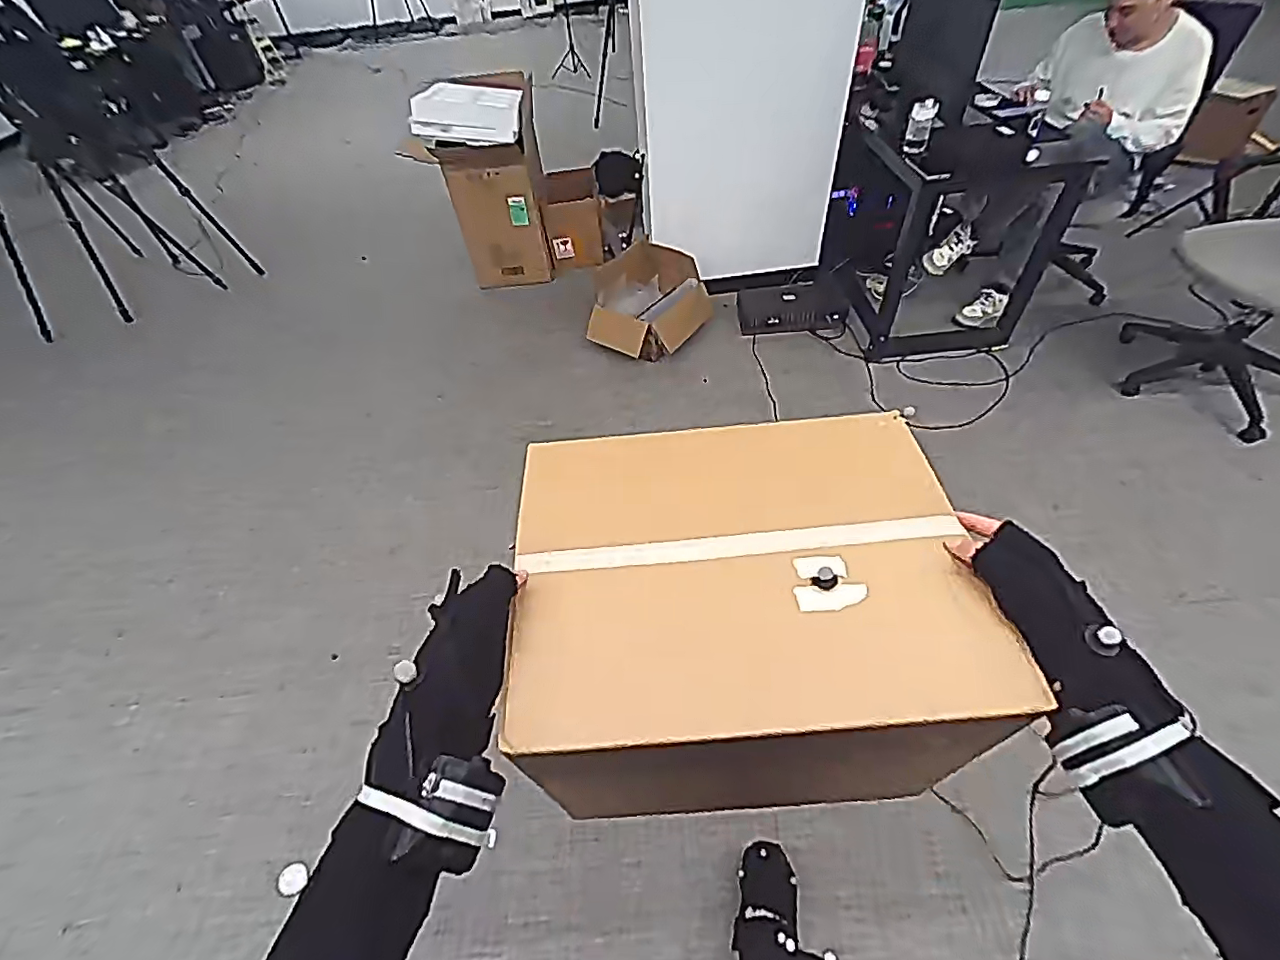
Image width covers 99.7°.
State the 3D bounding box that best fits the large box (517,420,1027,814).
[{"bbox_3d":[0.099,0.163,0.621,0.408,0.320,0.320,-5,50,1],"label":"large box"}]
